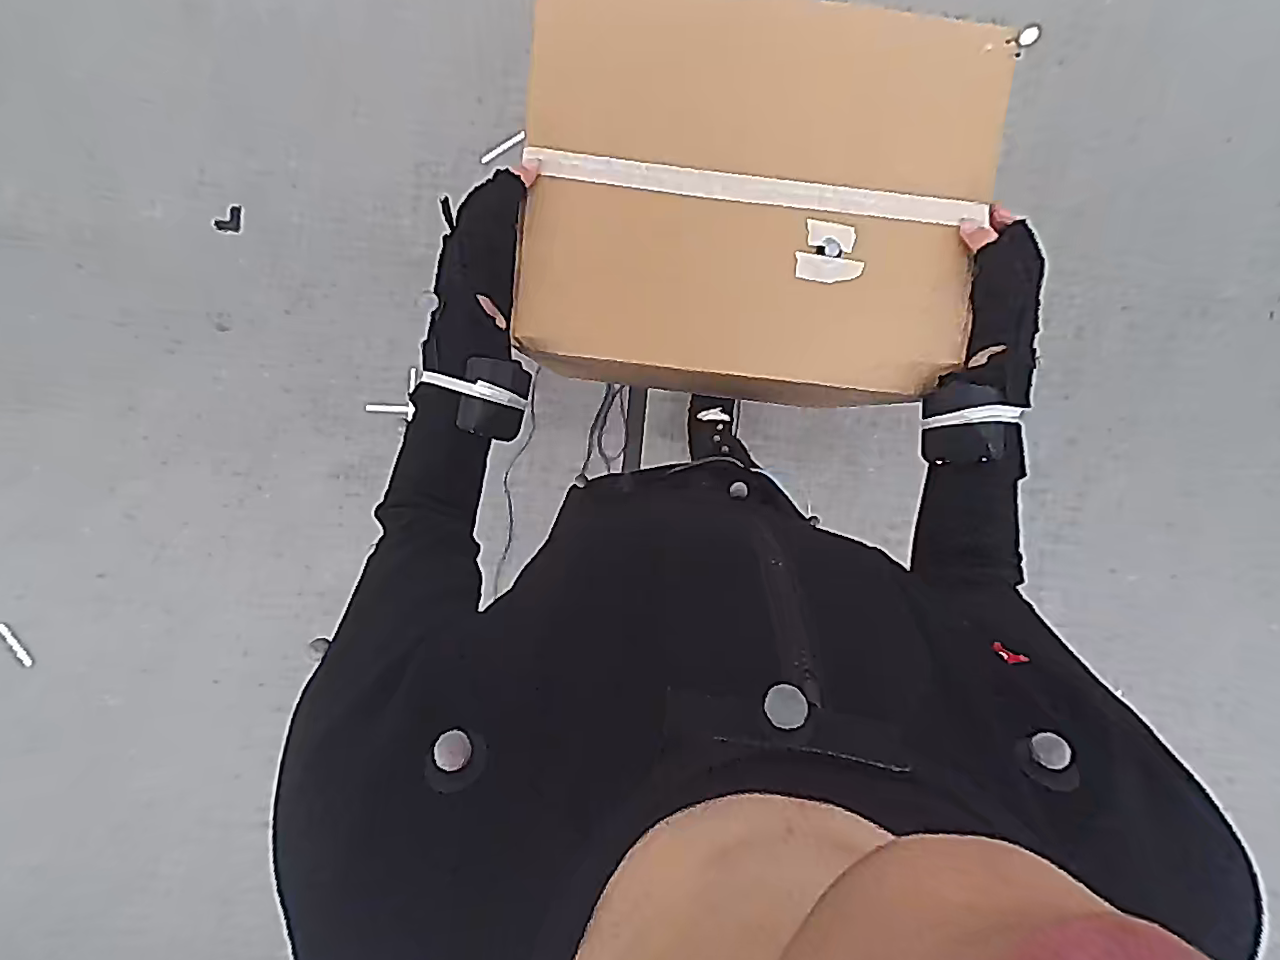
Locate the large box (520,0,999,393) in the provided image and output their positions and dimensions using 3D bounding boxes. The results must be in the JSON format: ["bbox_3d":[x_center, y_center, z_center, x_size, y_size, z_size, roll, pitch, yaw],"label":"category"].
[{"bbox_3d":[0.096,-0.280,0.626,0.408,0.320,0.320,6,97,-3],"label":"large box"}]
